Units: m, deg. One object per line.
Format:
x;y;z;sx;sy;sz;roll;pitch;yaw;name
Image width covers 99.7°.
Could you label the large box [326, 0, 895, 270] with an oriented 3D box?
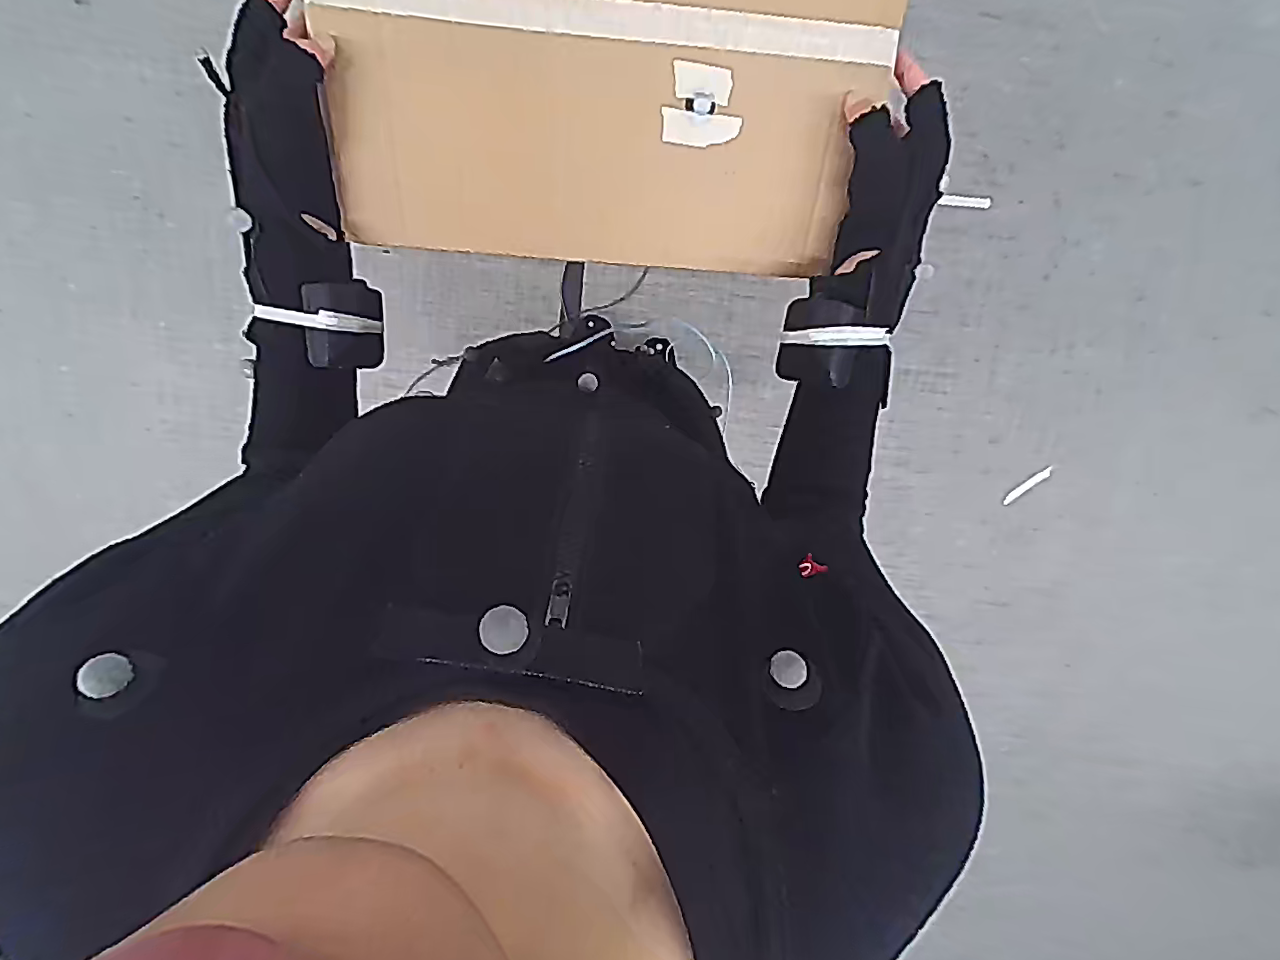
-0.029;-0.391;0.514;0.408;0.320;0.320;2;119;-6;large box
